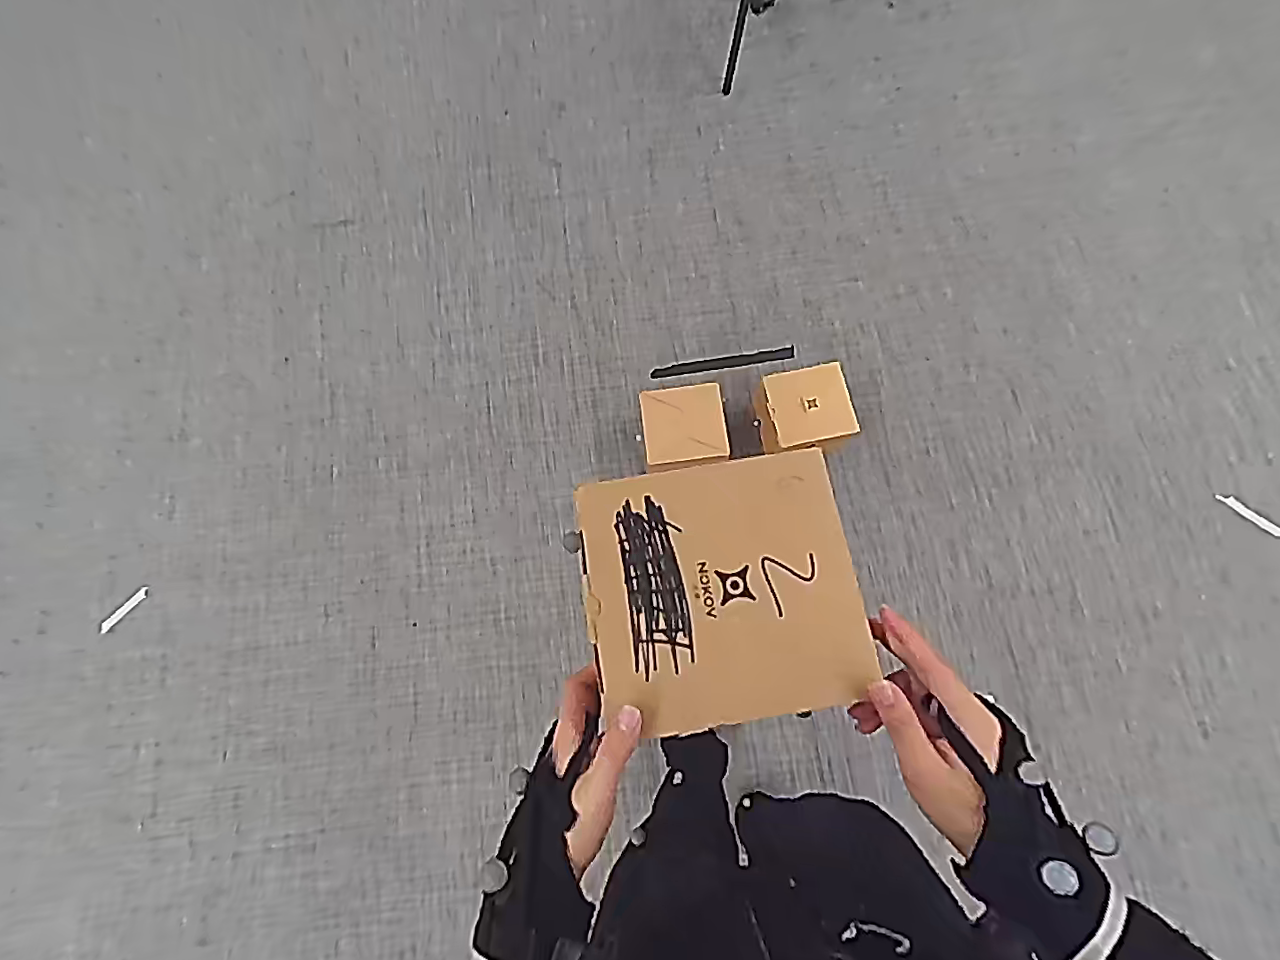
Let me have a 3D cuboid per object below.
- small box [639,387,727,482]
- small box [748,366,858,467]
[{"bbox_3d":[0.095,-0.100,1.228,0.179,0.176,0.168,-7,77,-1],"label":"small box"},{"bbox_3d":[0.363,-0.138,1.234,0.179,0.176,0.168,-12,77,-1],"label":"small box"}]
